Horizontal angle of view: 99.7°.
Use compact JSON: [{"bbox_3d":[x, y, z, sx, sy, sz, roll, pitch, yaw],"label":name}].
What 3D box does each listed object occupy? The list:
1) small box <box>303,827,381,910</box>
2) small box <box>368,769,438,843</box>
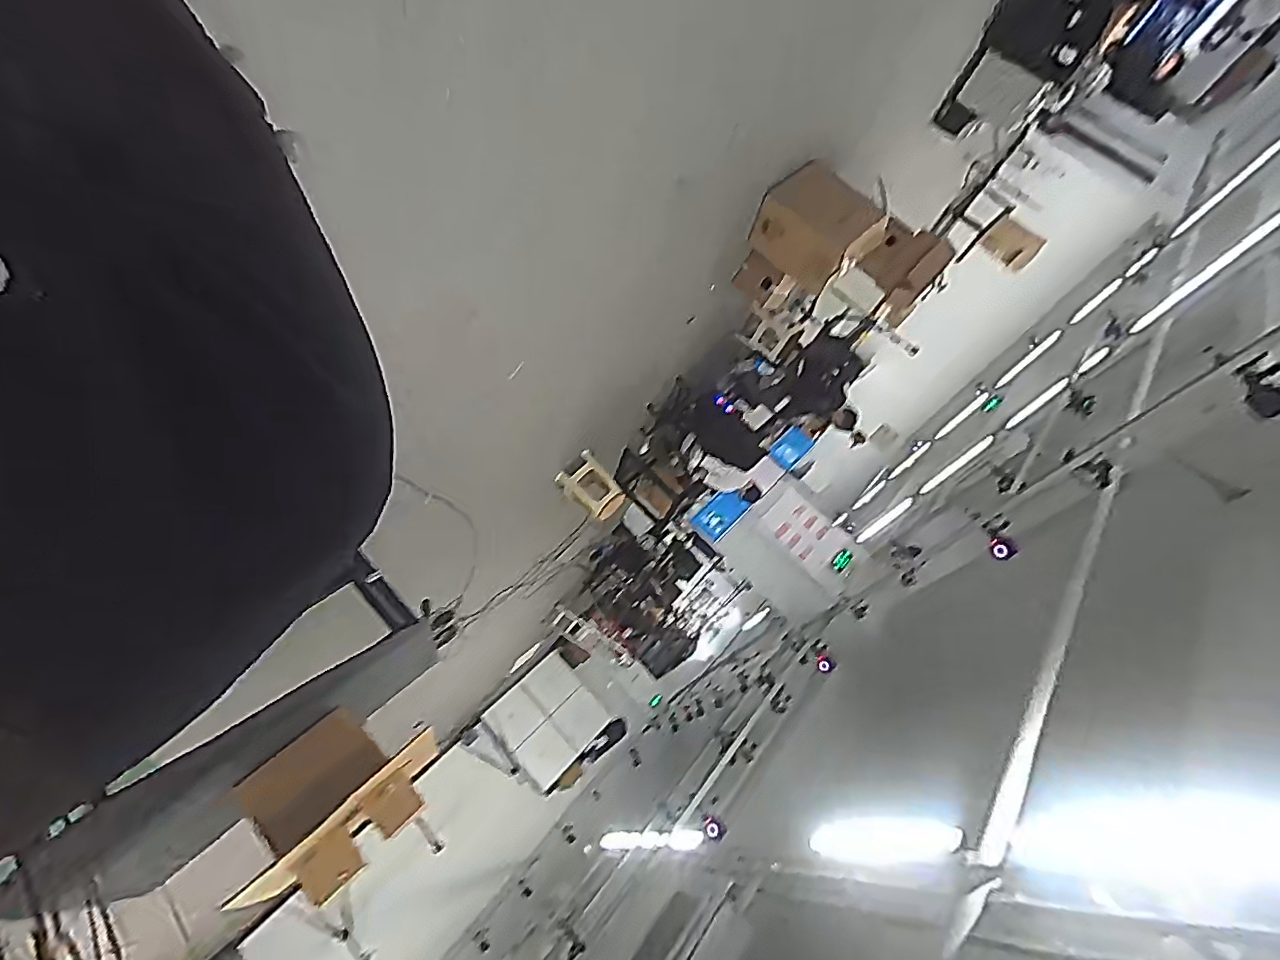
[{"bbox_3d":[-1.030,1.337,1.873,0.168,0.176,0.179,-36,163,-34],"label":"small box"},{"bbox_3d":[-0.871,1.201,1.994,0.168,0.176,0.179,-39,162,-34],"label":"small box"}]
